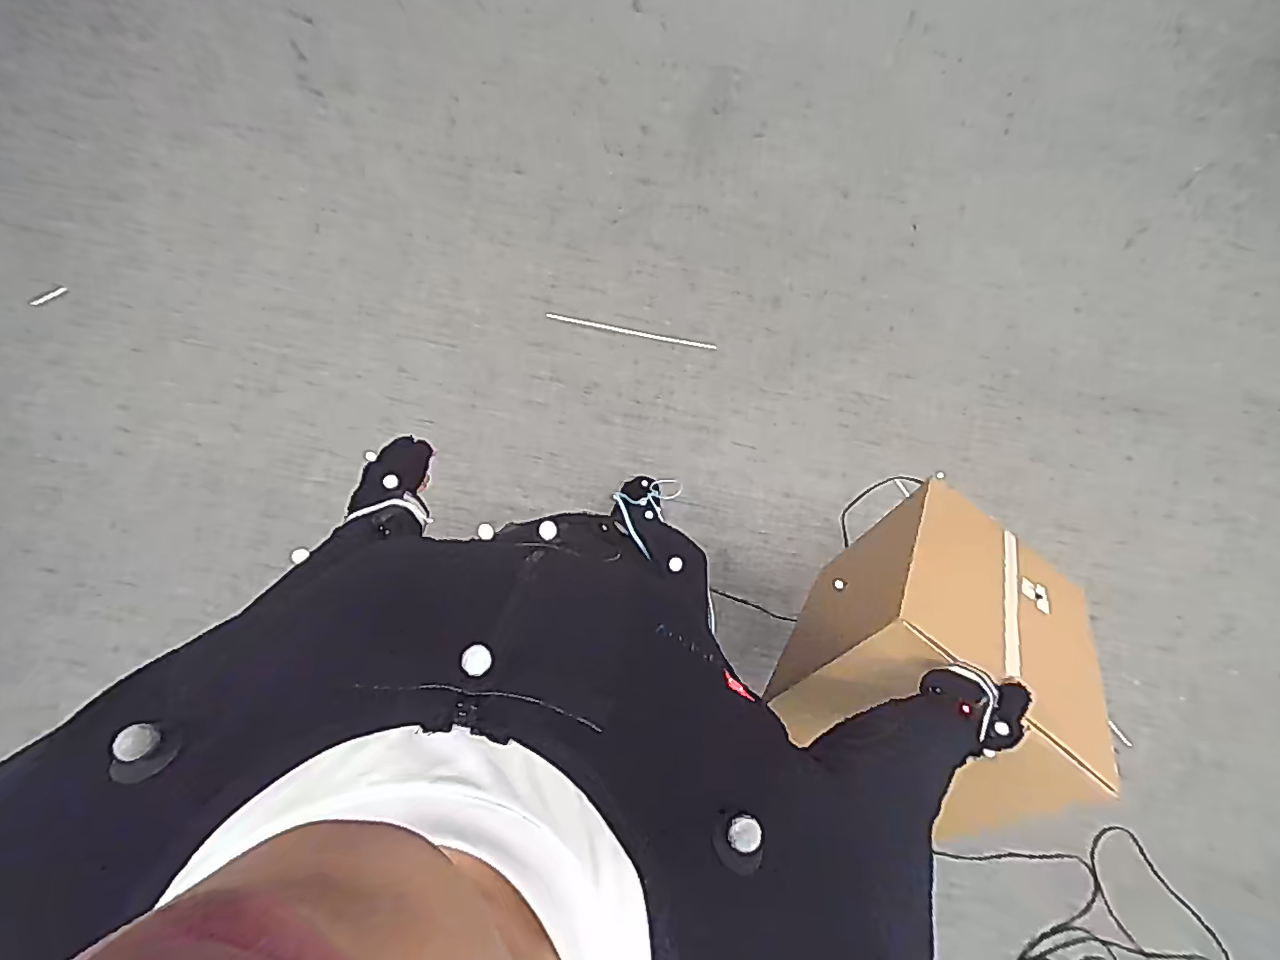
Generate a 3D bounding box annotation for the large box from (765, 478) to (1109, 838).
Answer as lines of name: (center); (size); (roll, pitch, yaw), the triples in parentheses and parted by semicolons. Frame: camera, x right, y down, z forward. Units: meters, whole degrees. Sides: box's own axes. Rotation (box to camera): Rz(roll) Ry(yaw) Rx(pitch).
large box: (0.464, 0.273, 0.891); (0.320, 0.408, 0.320); (41, 131, 7)
